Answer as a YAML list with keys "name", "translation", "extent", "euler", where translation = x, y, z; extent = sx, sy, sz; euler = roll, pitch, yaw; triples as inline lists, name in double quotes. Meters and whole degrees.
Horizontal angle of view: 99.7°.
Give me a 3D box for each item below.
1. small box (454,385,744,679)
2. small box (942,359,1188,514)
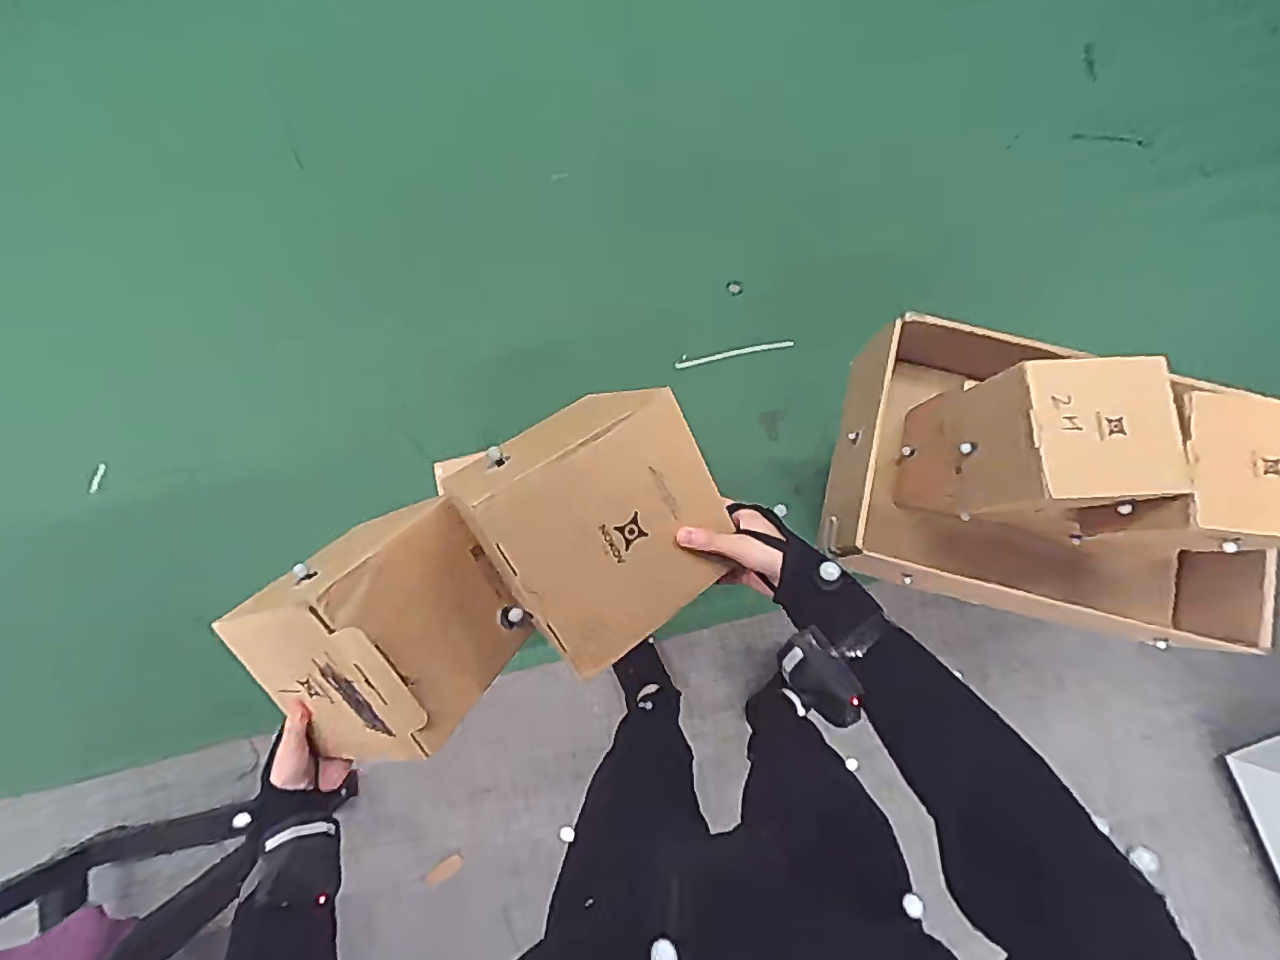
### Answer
- name: "small box"
  translation: [-0.047, 0.032, 0.480]
  extent: [0.179, 0.176, 0.168]
  euler: [-34, 110, -21]
- name: "small box"
  translation: [0.532, -0.048, 0.702]
  extent: [0.179, 0.176, 0.168]
  euler: [-2, 80, -2]
